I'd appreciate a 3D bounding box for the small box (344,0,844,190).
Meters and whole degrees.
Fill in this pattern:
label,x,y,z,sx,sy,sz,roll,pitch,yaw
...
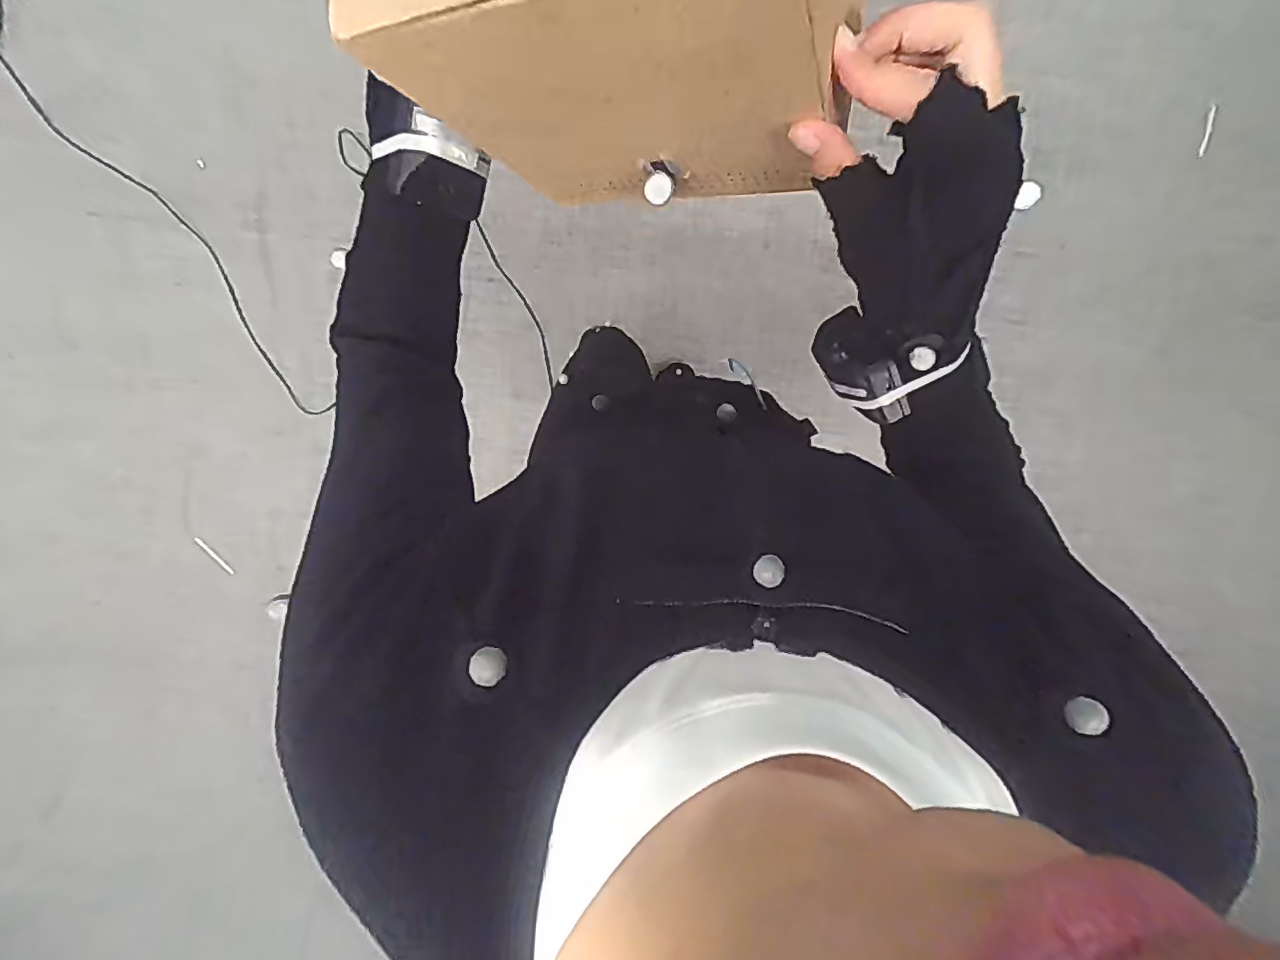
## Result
label,x,y,z,sx,sy,sz,roll,pitch,yaw
small box,0.000,-0.249,0.242,0.179,0.176,0.168,9,100,22
